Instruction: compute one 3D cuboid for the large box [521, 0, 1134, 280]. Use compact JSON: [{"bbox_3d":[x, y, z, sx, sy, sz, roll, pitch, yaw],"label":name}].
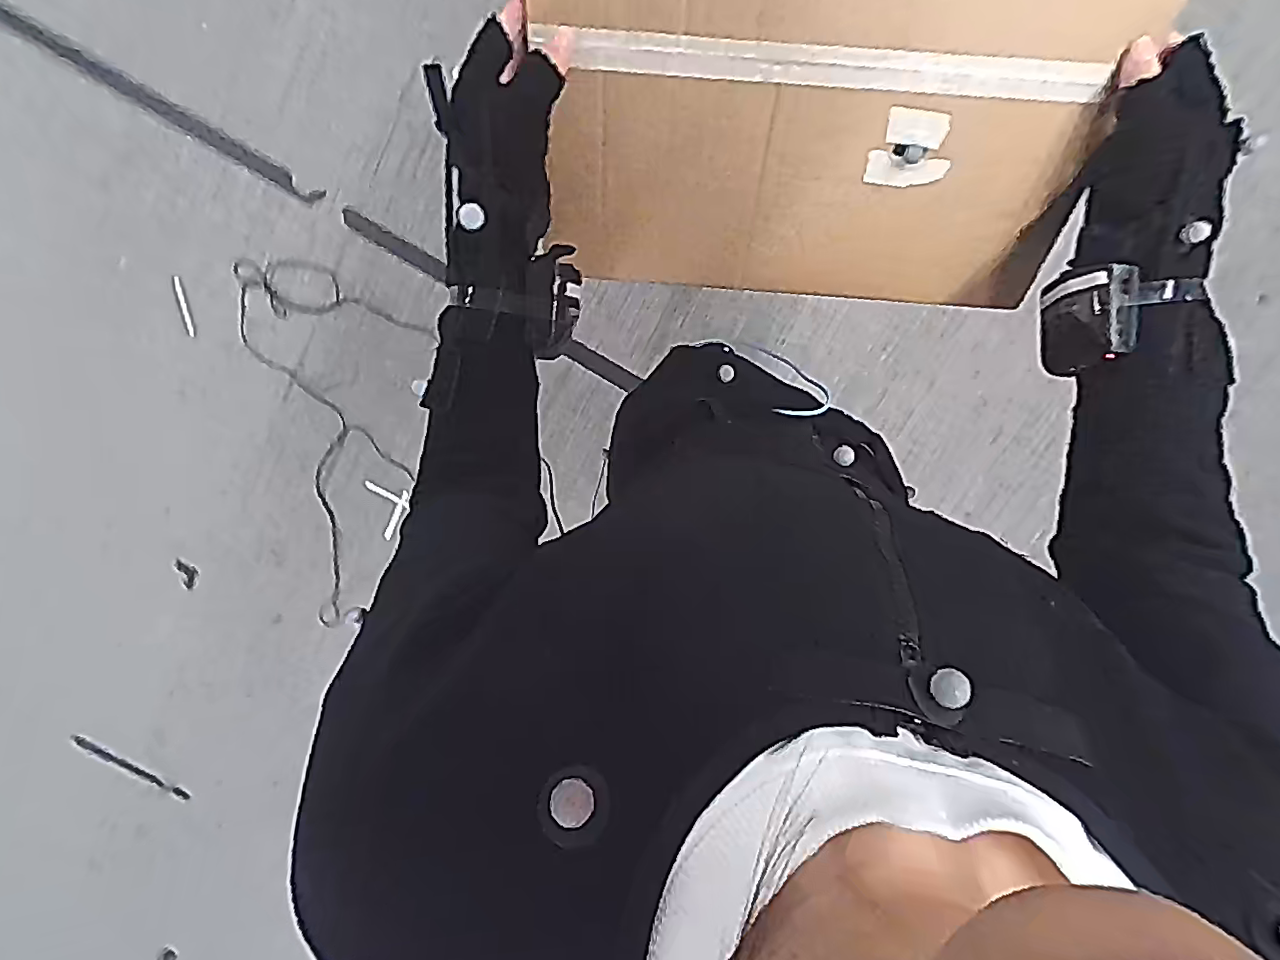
[{"bbox_3d":[0.120,-0.390,0.482,0.408,0.320,0.320,2,132,0],"label":"large box"}]
